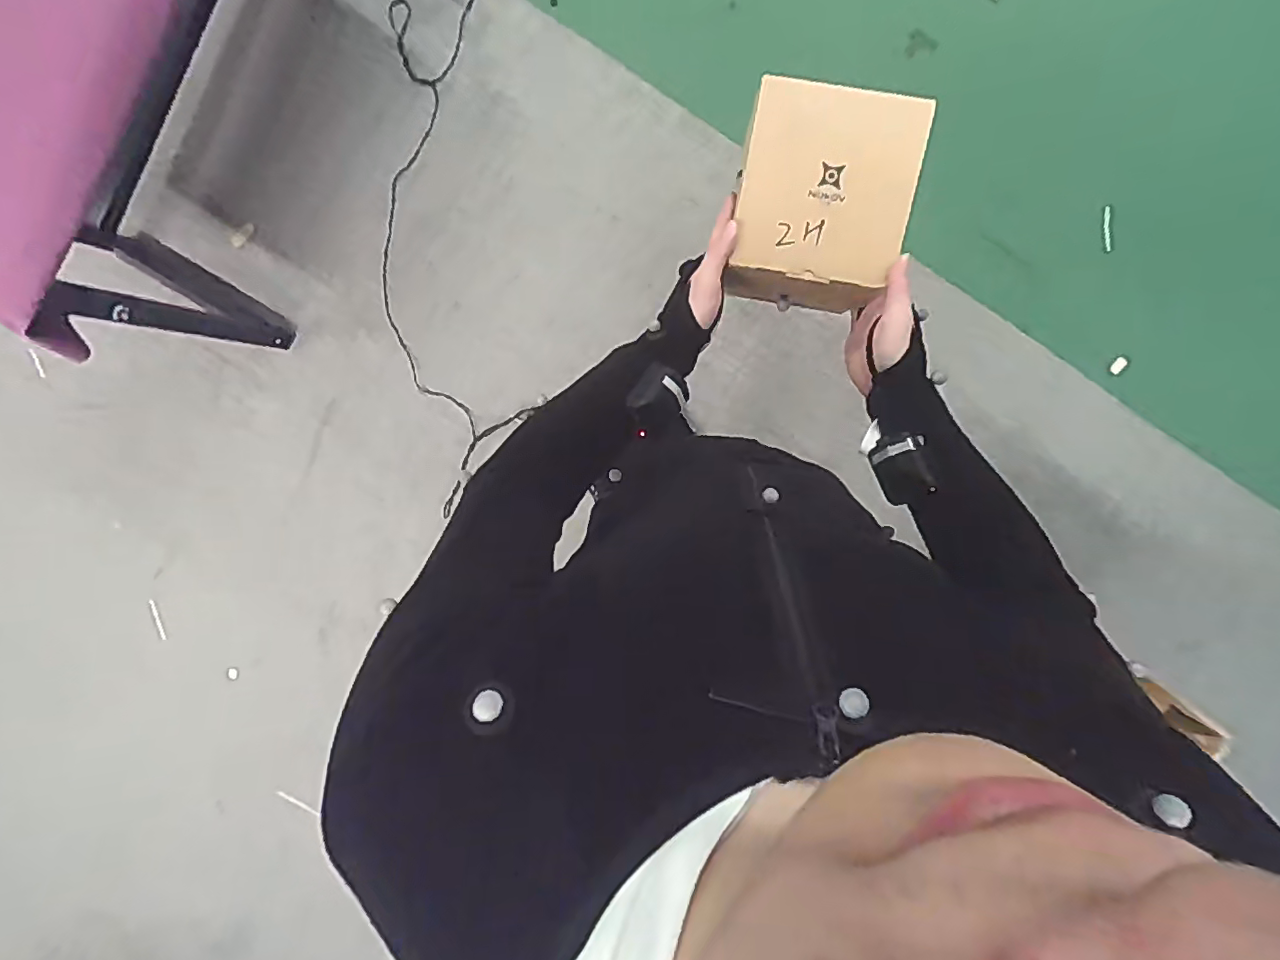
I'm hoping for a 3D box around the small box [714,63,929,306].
[{"bbox_3d":[0.180,-0.306,0.597,0.168,0.176,0.179,11,100,3],"label":"small box"}]
